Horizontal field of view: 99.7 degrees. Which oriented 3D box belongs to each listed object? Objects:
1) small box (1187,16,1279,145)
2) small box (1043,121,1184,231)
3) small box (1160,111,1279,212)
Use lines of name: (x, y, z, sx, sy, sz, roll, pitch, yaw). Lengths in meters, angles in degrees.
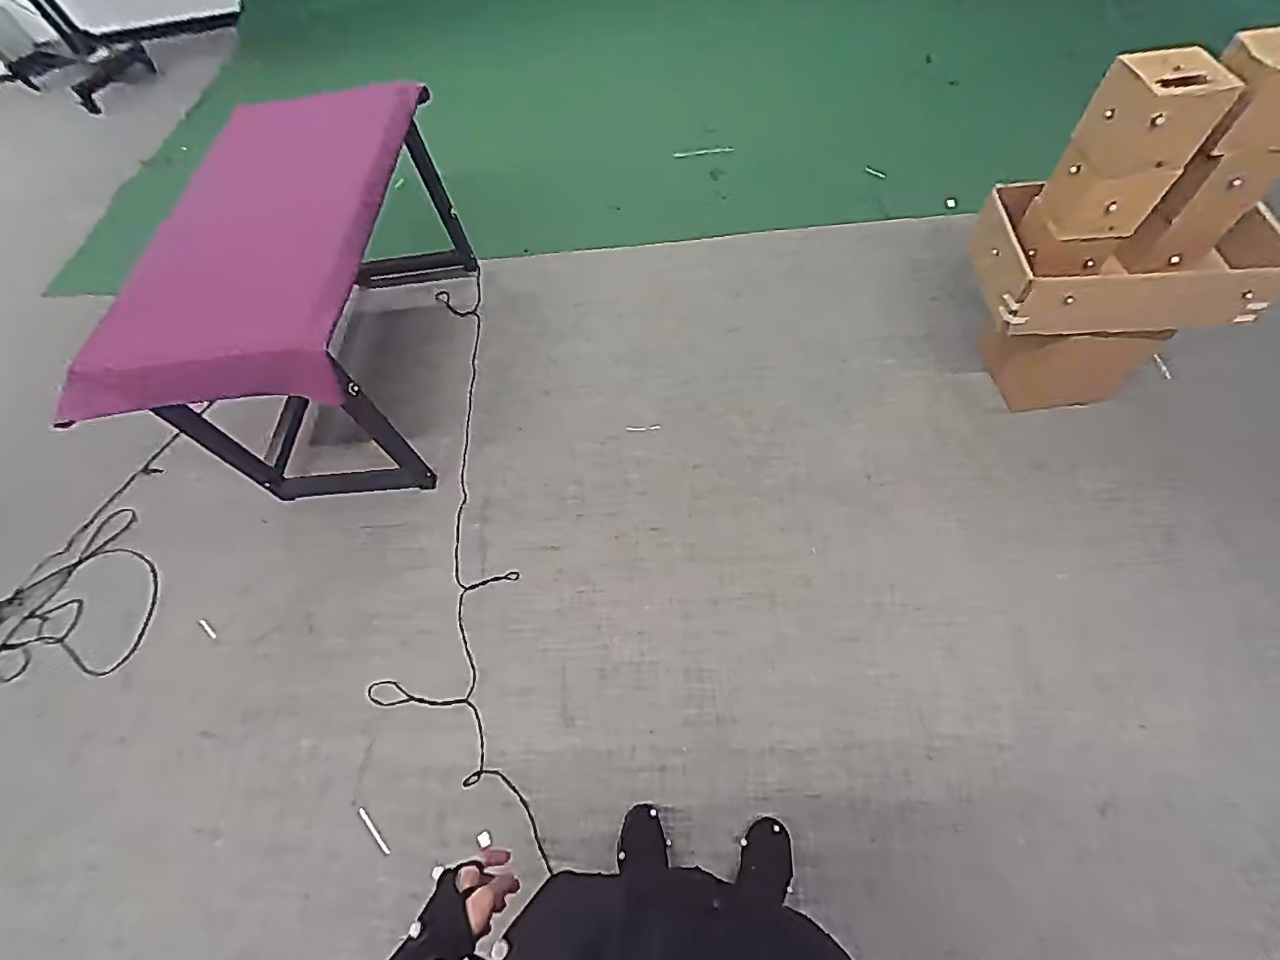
small box: (1.343, -0.844, 1.144, 0.179, 0.176, 0.168, 0, 60, 10)
small box: (1.121, -0.720, 1.299, 0.168, 0.176, 0.179, -2, 60, 5)
small box: (1.383, -0.765, 1.285, 0.179, 0.176, 0.168, -7, 61, 6)
